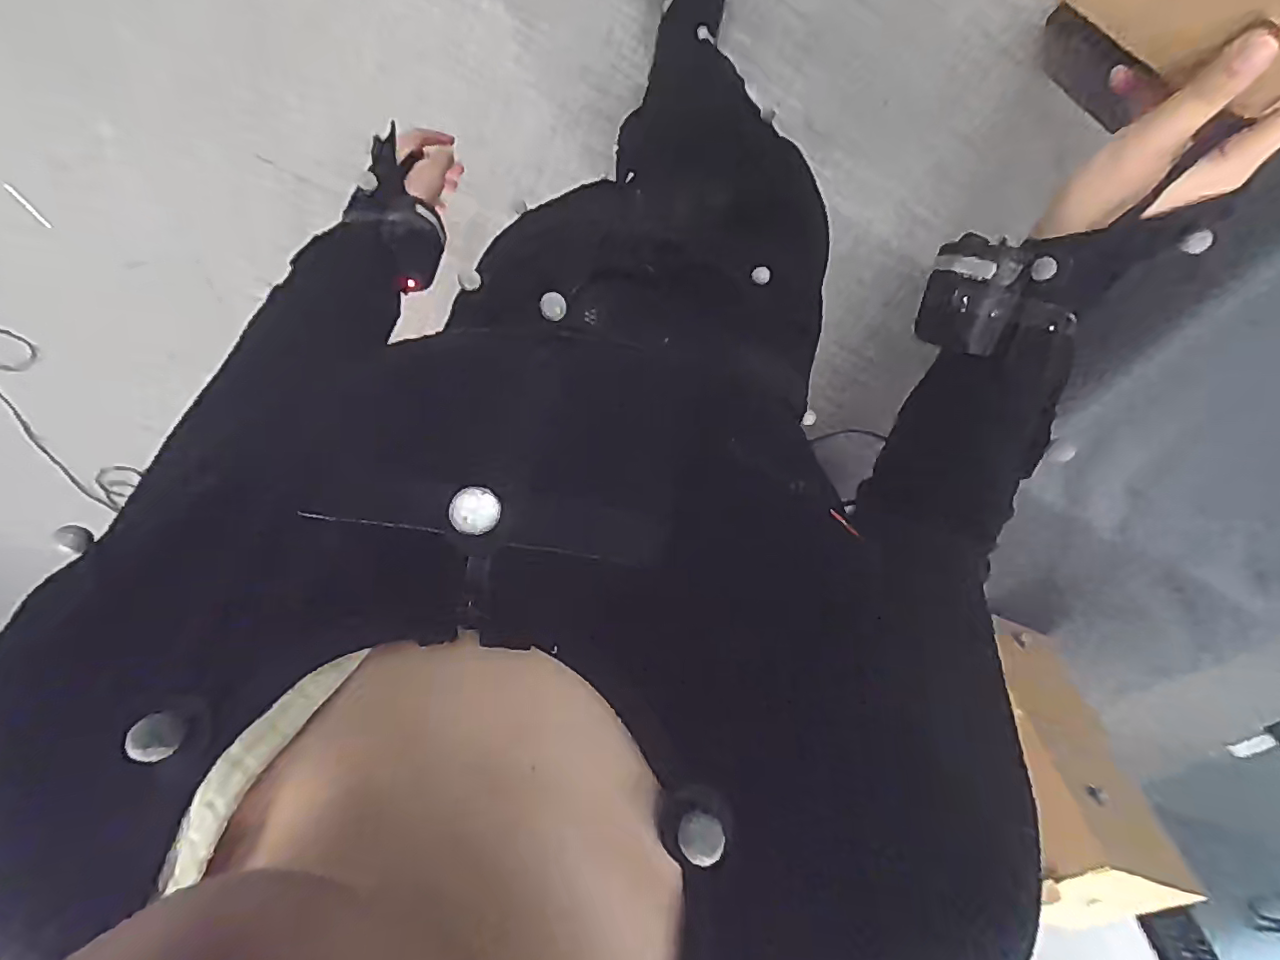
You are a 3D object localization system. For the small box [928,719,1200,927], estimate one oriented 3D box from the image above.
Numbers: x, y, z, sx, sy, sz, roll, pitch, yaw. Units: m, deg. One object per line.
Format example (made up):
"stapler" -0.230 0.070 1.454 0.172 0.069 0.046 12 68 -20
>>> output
"small box" 0.505 0.424 0.676 0.179 0.176 0.168 24 126 -18
